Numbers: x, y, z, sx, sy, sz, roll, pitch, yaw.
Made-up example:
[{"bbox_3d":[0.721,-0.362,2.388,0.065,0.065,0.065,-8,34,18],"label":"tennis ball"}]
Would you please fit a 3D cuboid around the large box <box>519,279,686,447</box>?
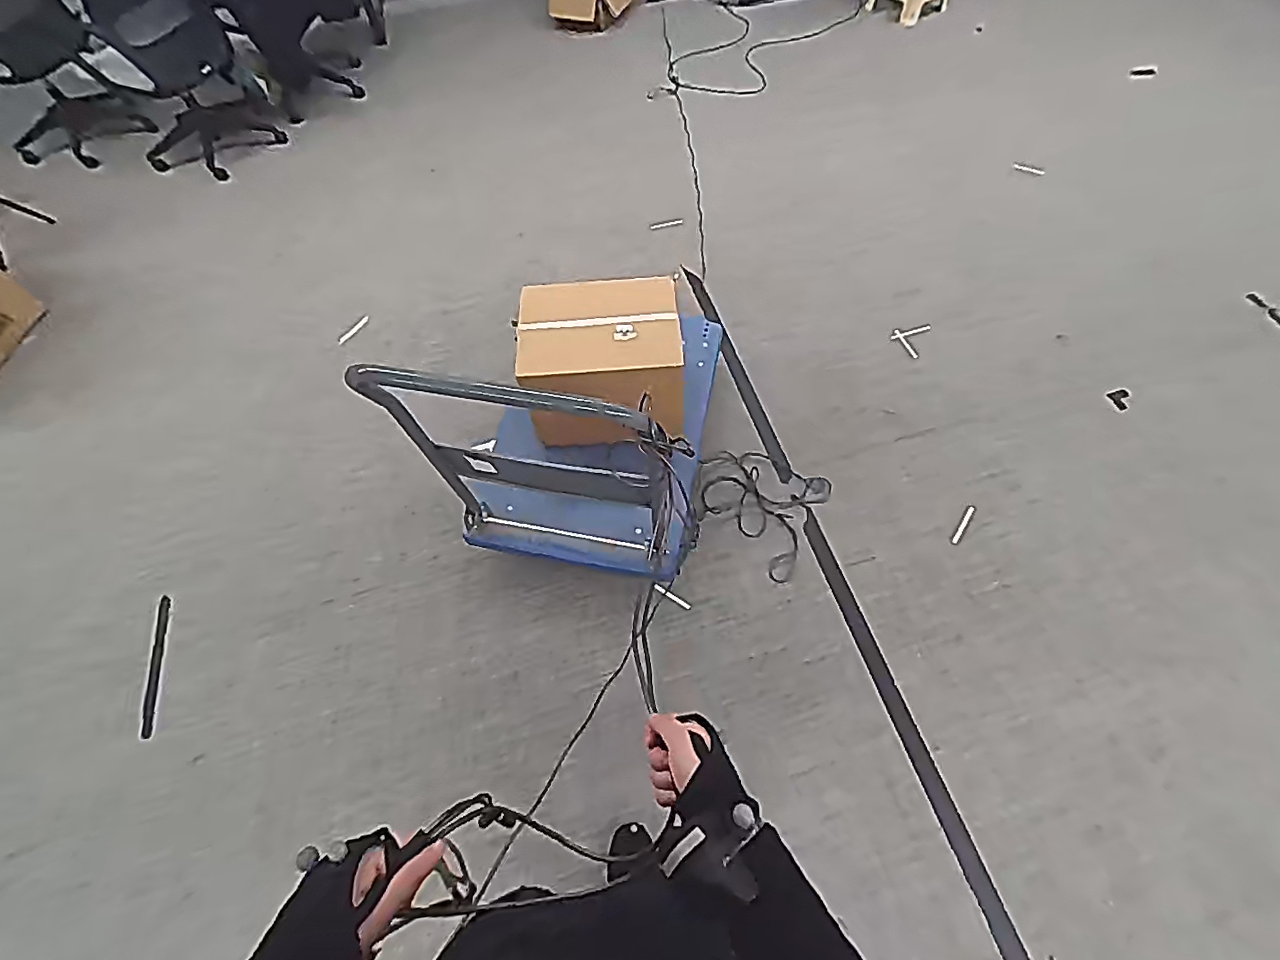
[{"bbox_3d":[-0.093,-0.307,1.468,0.408,0.320,0.320,-3,61,1],"label":"large box"}]
